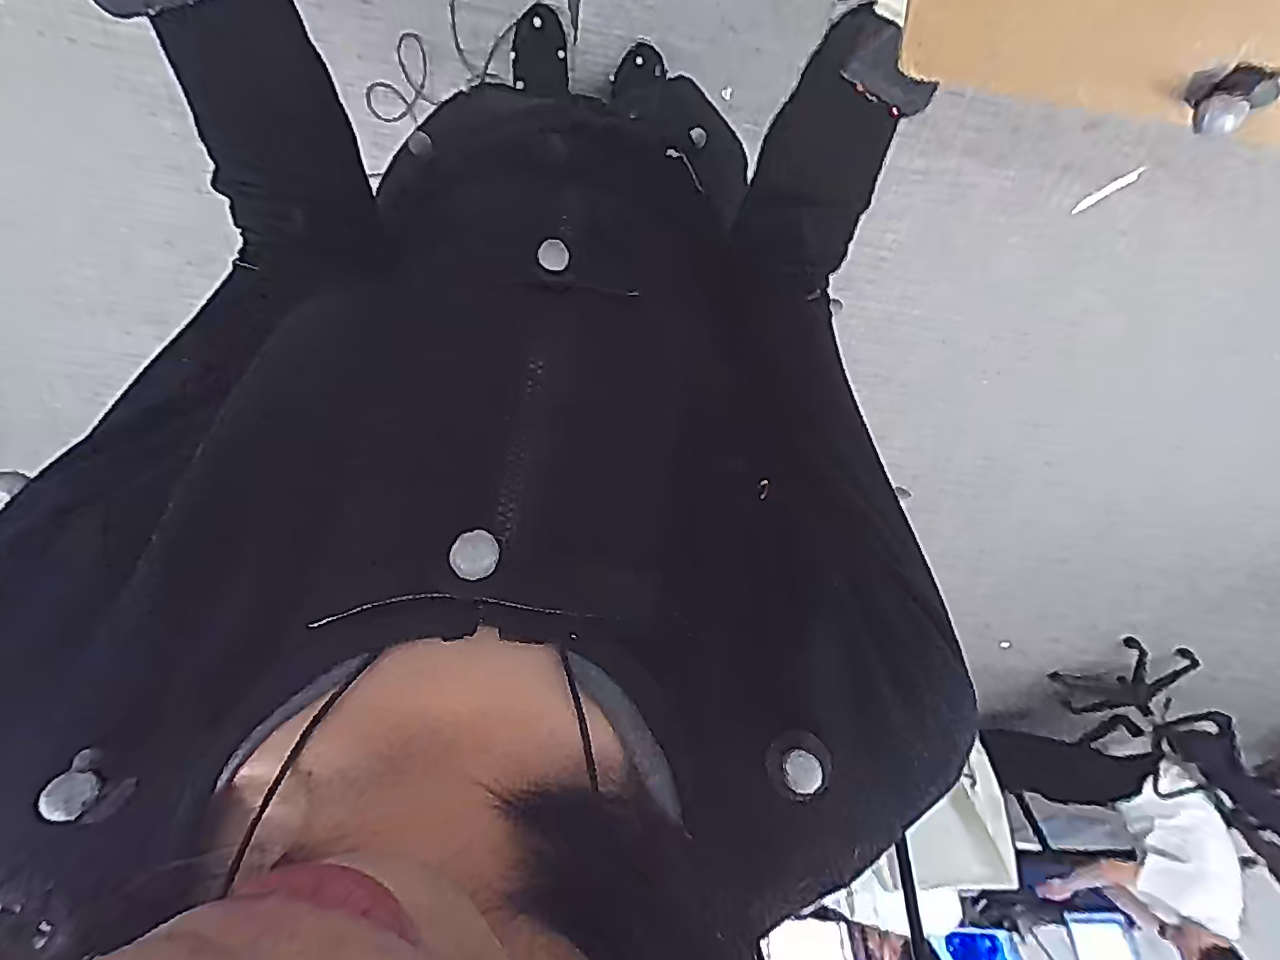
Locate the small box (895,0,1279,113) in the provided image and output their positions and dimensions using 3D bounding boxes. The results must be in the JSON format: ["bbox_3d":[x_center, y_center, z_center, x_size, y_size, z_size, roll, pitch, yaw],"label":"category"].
[{"bbox_3d":[0.167,-0.205,0.089,0.168,0.176,0.179,26,101,19],"label":"small box"}]
